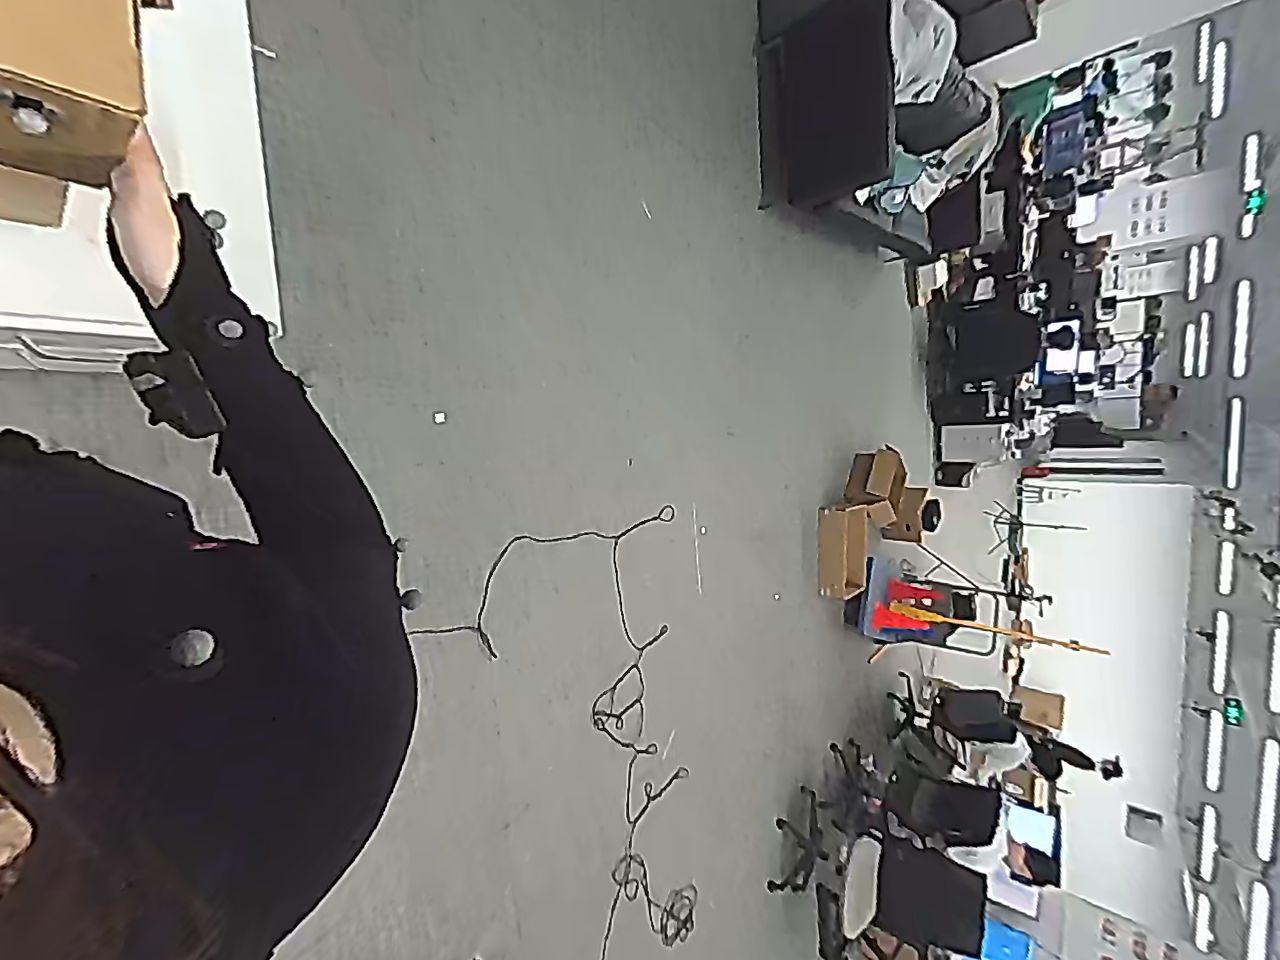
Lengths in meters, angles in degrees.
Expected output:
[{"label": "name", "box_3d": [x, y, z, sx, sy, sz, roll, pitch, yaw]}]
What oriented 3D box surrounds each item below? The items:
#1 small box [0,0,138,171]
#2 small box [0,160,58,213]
[{"label": "small box", "box_3d": [-0.365, -0.268, 0.246, 0.179, 0.176, 0.168, -7, 103, -51]}, {"label": "small box", "box_3d": [-0.689, -0.376, 0.514, 0.179, 0.176, 0.168, -10, 100, -48]}]
